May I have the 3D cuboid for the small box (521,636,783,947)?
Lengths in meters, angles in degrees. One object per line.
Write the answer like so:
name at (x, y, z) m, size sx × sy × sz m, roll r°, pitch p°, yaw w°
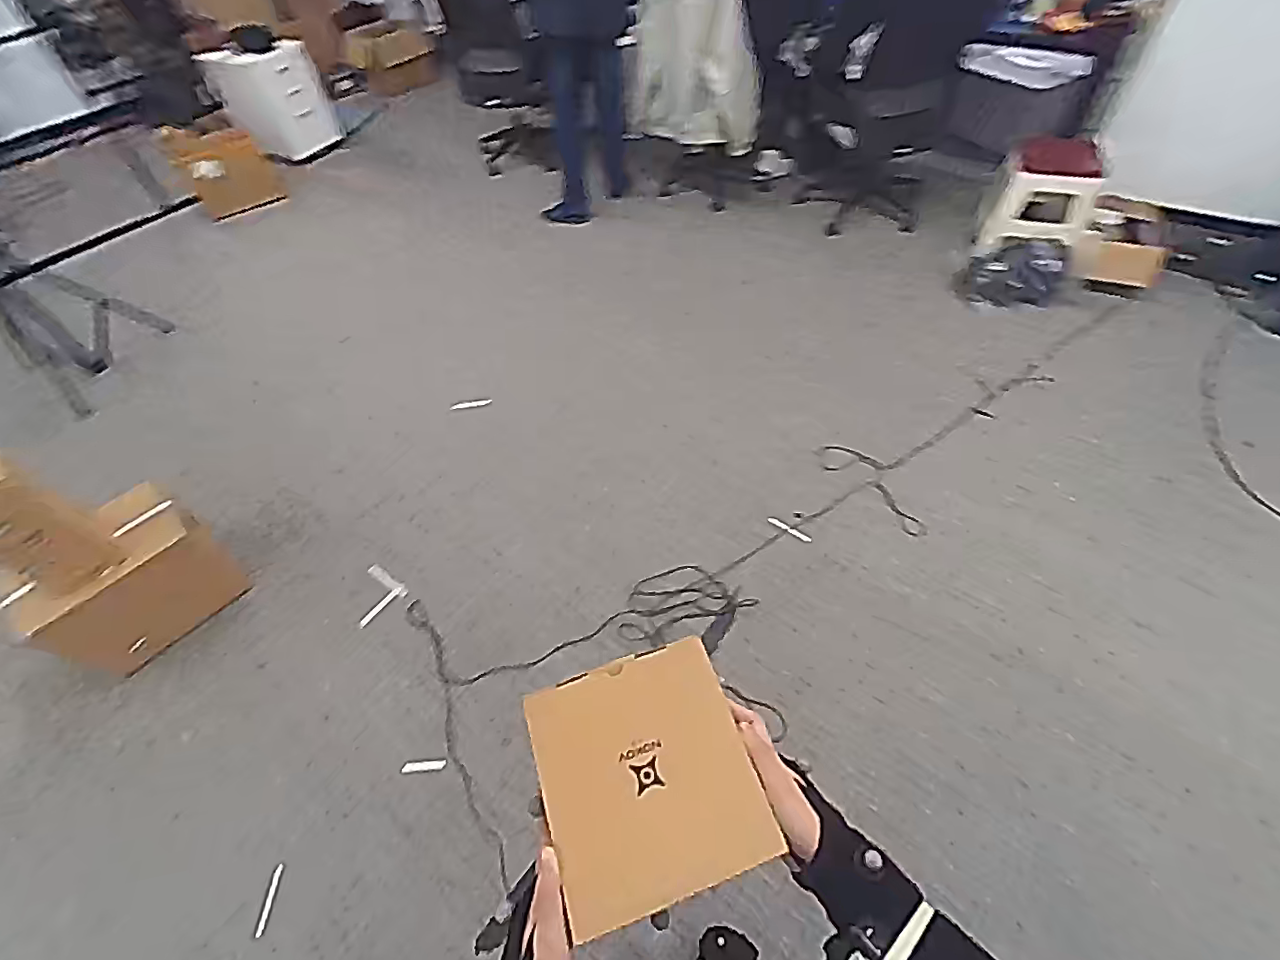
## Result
small box at (0.004, 0.274, 0.491) m, size 0.168 × 0.176 × 0.179 m, roll -17°, pitch 55°, yaw -11°
